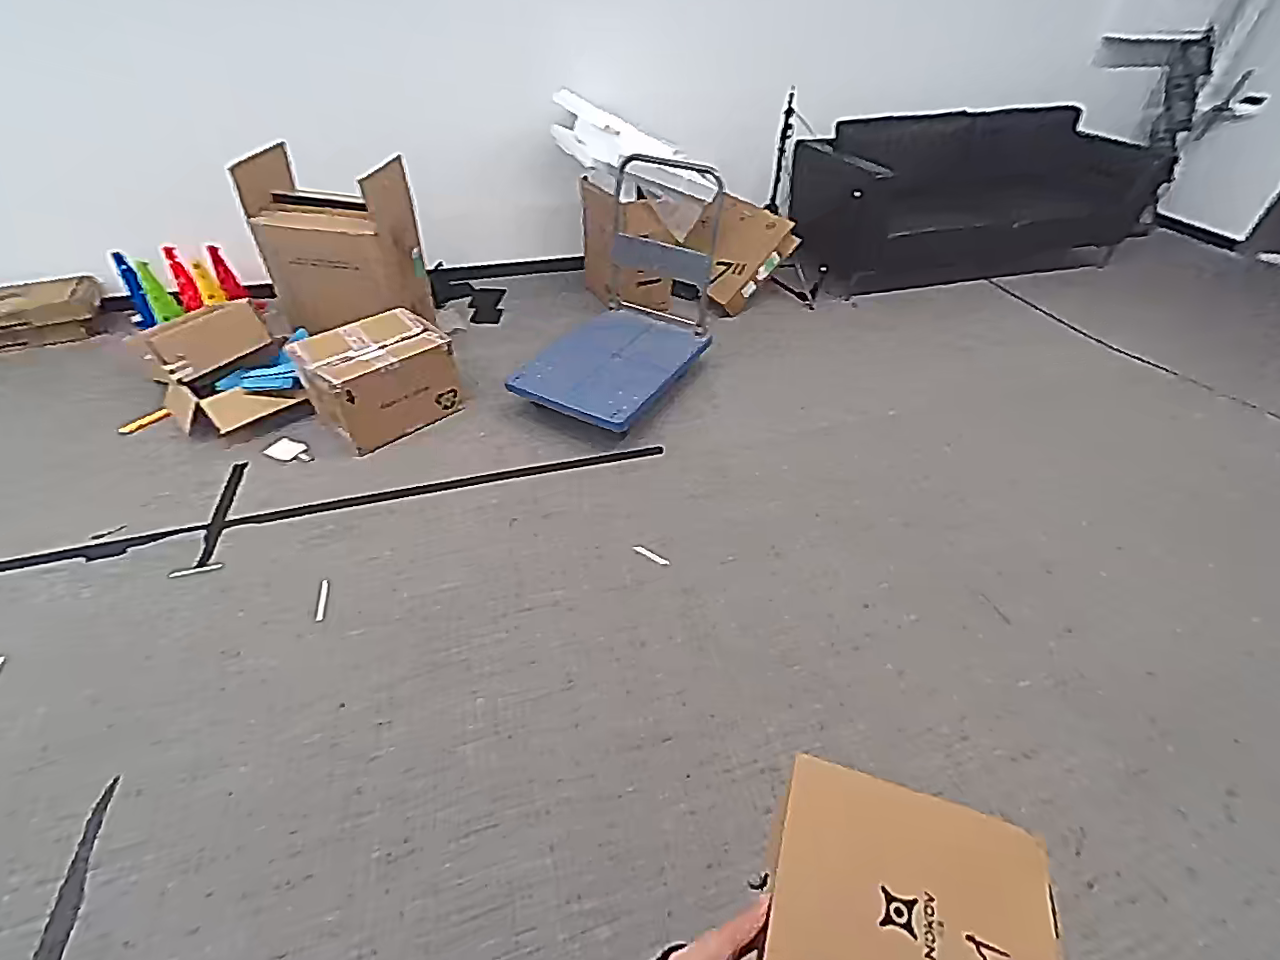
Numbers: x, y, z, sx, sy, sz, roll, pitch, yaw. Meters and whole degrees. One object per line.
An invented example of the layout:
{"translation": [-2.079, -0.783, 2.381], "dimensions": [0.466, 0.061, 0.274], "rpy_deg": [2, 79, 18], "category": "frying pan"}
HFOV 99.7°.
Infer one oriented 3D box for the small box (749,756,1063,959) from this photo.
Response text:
{"translation": [0.179, 0.346, 0.402], "dimensions": [0.179, 0.176, 0.168], "rpy_deg": [12, 45, 17], "category": "small box"}
